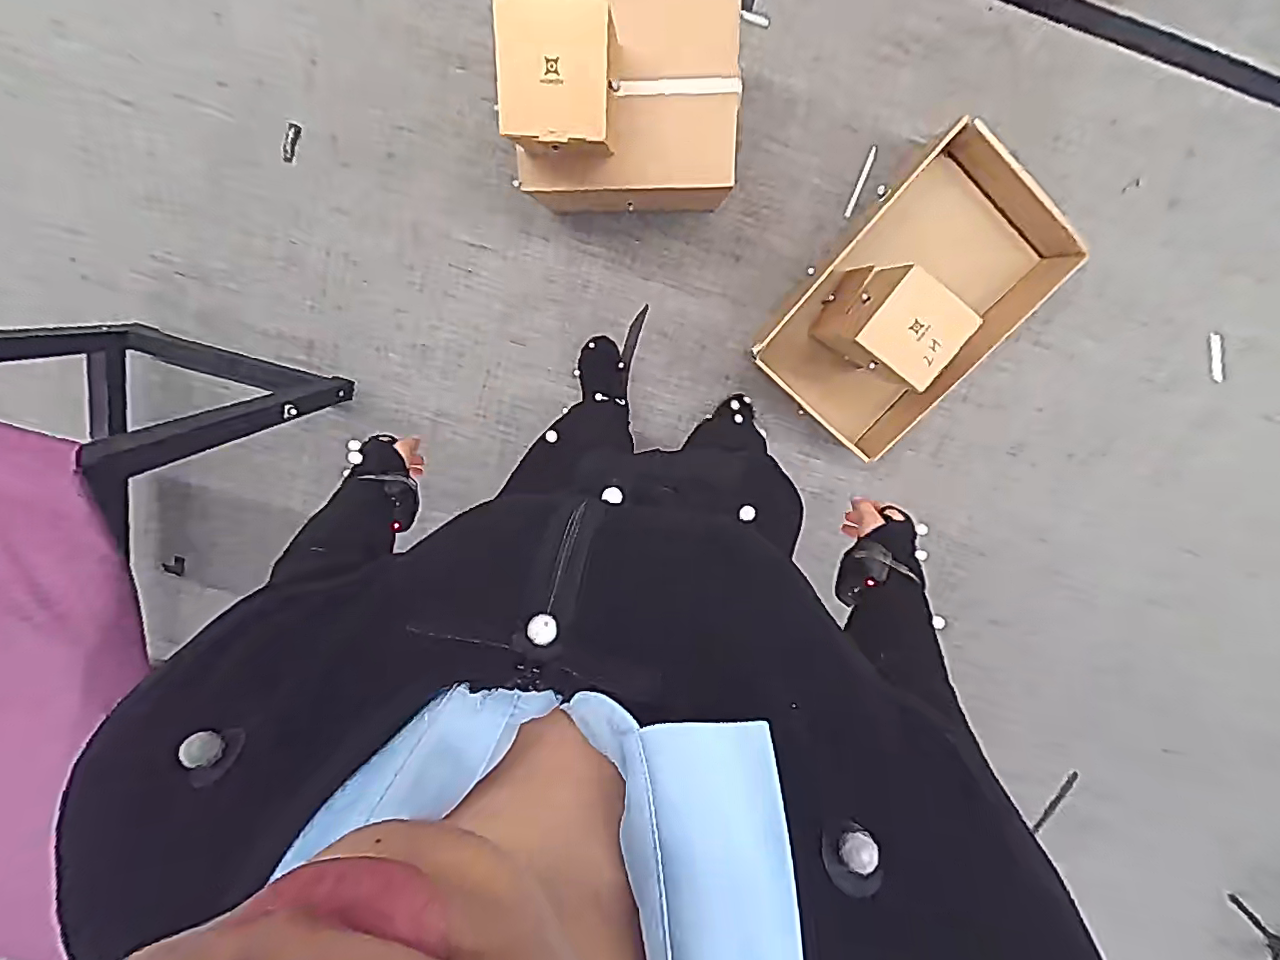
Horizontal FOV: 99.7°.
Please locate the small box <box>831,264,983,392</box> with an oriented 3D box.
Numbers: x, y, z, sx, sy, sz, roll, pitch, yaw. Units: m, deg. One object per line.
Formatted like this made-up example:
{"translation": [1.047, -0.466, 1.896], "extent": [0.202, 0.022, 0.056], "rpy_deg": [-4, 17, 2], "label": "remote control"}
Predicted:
{"translation": [0.514, -0.298, 1.071], "extent": [0.179, 0.176, 0.168], "rpy_deg": [35, 104, -11], "label": "small box"}
